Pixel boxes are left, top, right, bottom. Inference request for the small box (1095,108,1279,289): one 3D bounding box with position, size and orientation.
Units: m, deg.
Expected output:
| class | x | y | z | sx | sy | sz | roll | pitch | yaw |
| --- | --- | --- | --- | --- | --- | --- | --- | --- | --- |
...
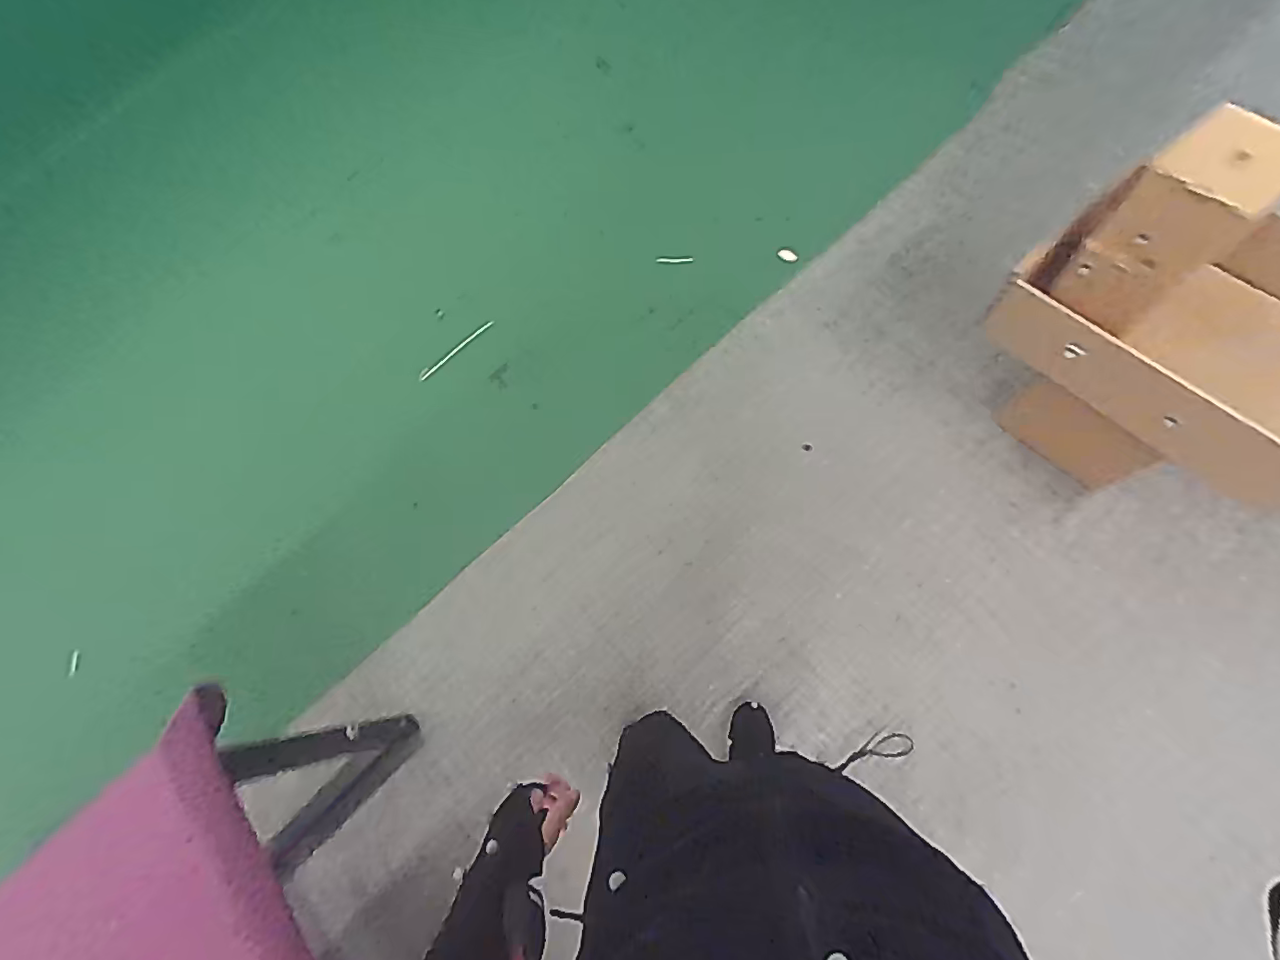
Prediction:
| class | x | y | z | sx | sy | sz | roll | pitch | yaw |
| --- | --- | --- | --- | --- | --- | --- | --- | --- | --- |
| small box | 0.937 | -0.466 | 0.913 | 0.179 | 0.176 | 0.168 | -40 | 69 | -5 |
